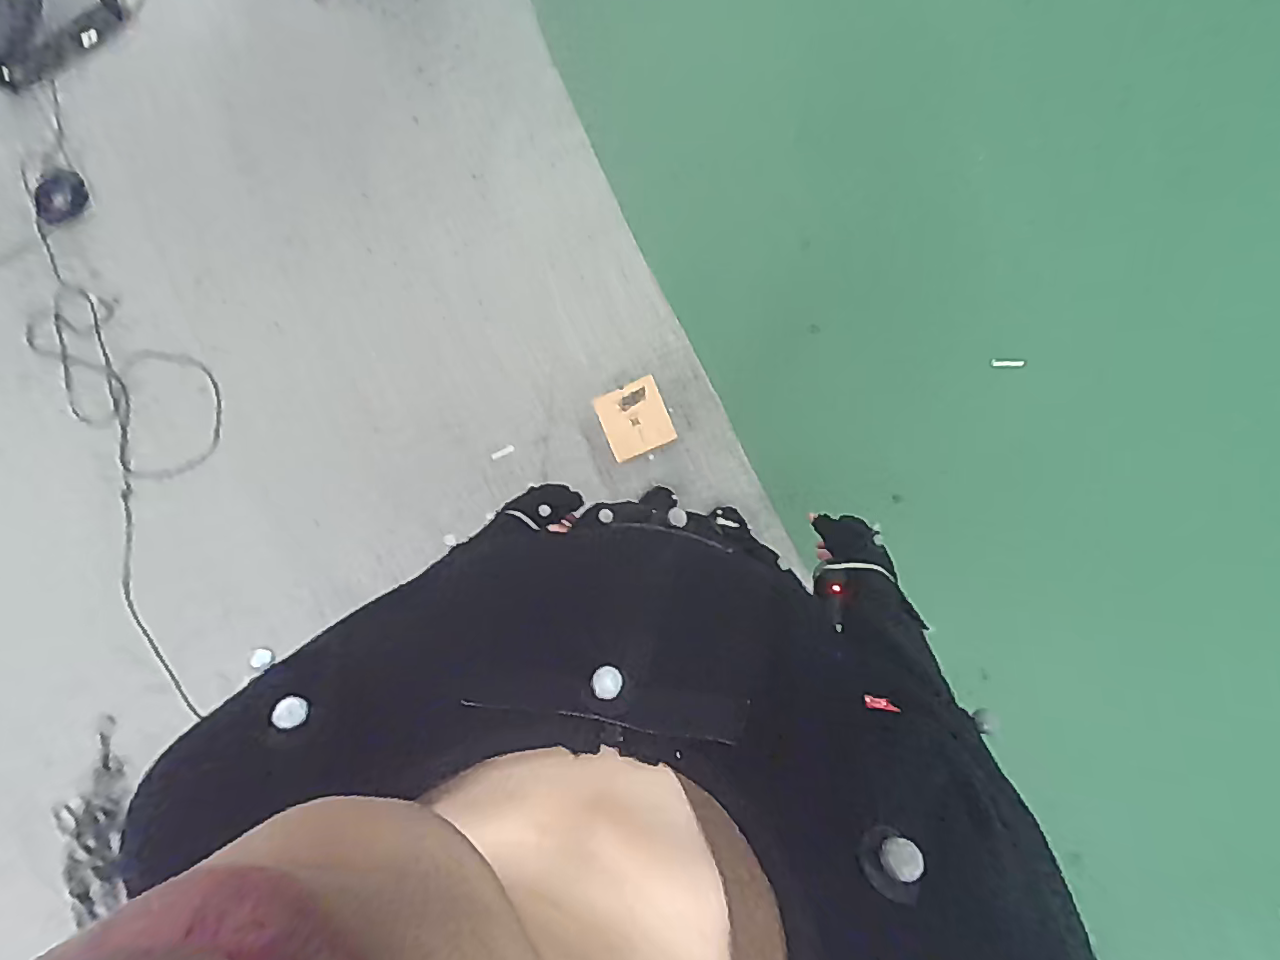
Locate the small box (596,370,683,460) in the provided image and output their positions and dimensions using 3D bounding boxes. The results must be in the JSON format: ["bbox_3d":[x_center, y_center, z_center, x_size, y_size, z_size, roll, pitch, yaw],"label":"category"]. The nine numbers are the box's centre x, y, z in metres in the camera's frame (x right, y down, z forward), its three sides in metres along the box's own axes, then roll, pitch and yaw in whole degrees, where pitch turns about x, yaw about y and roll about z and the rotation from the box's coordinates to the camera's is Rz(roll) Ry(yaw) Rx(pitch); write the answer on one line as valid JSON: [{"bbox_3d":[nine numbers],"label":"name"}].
[{"bbox_3d":[0.003,-0.161,1.409,0.168,0.176,0.179,-23,88,7],"label":"small box"}]
